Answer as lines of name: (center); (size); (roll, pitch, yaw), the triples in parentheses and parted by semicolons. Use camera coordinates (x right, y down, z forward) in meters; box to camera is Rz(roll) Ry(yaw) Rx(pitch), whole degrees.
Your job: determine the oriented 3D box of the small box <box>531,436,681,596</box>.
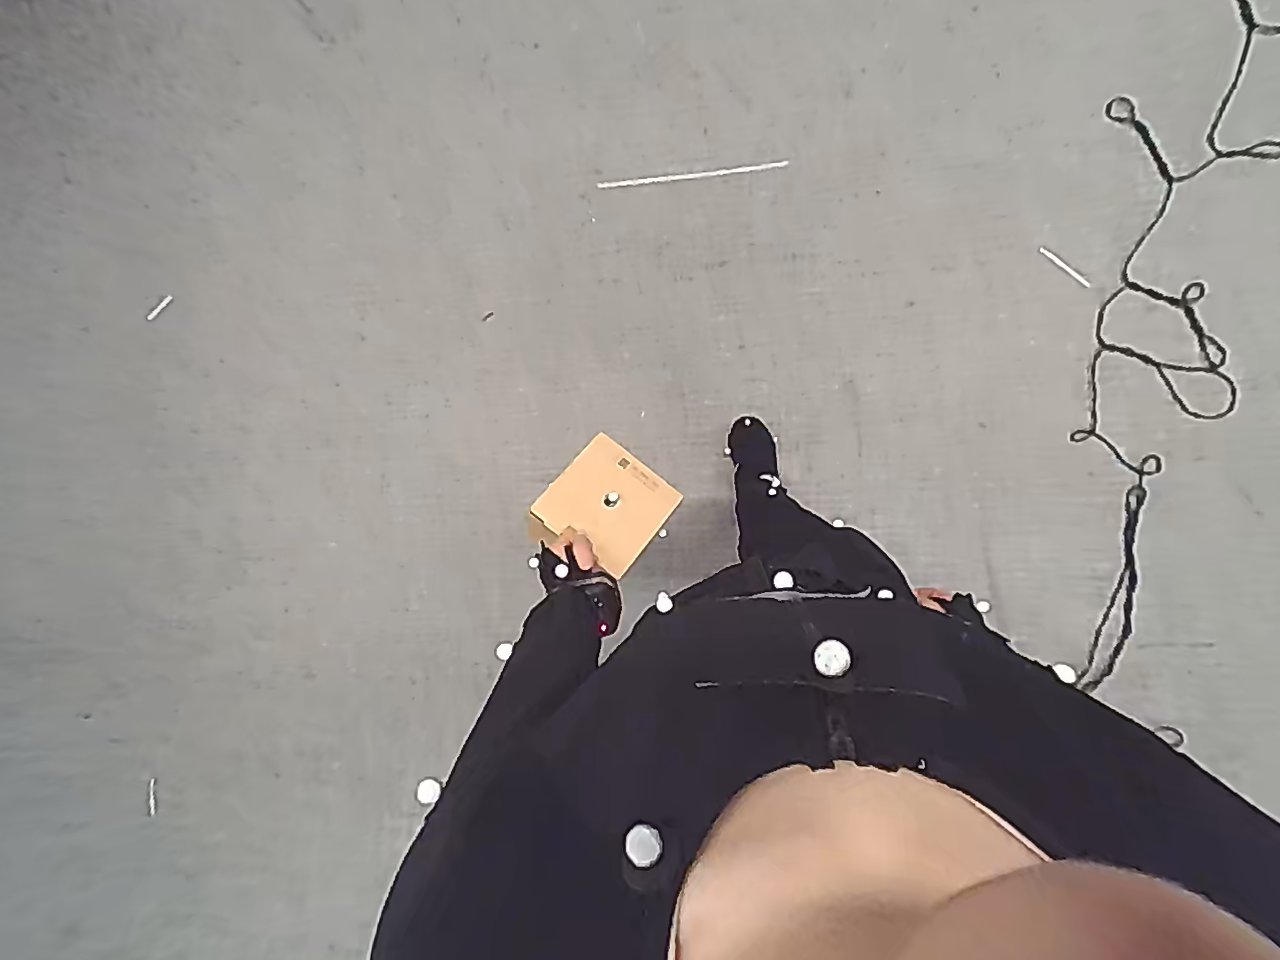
small box: (-0.056, 0.059, 0.867); (0.168, 0.179, 0.176); (38, 67, 3)
